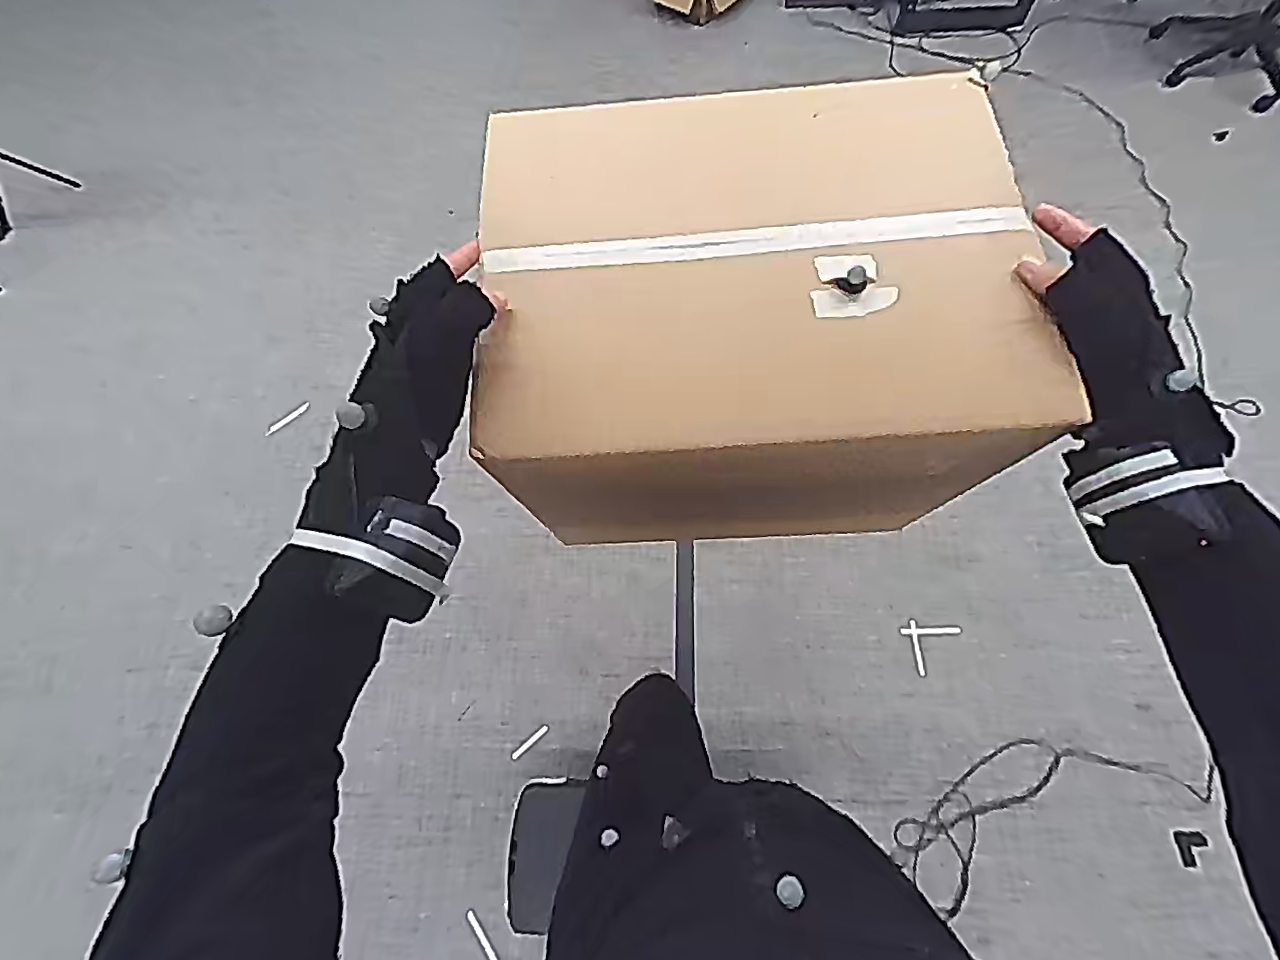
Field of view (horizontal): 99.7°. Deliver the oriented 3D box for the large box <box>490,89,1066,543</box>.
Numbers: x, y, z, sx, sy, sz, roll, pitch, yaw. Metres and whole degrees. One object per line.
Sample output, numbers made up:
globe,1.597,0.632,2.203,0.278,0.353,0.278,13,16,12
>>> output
large box,0.089,-0.127,0.556,0.408,0.320,0.320,-3,73,2
